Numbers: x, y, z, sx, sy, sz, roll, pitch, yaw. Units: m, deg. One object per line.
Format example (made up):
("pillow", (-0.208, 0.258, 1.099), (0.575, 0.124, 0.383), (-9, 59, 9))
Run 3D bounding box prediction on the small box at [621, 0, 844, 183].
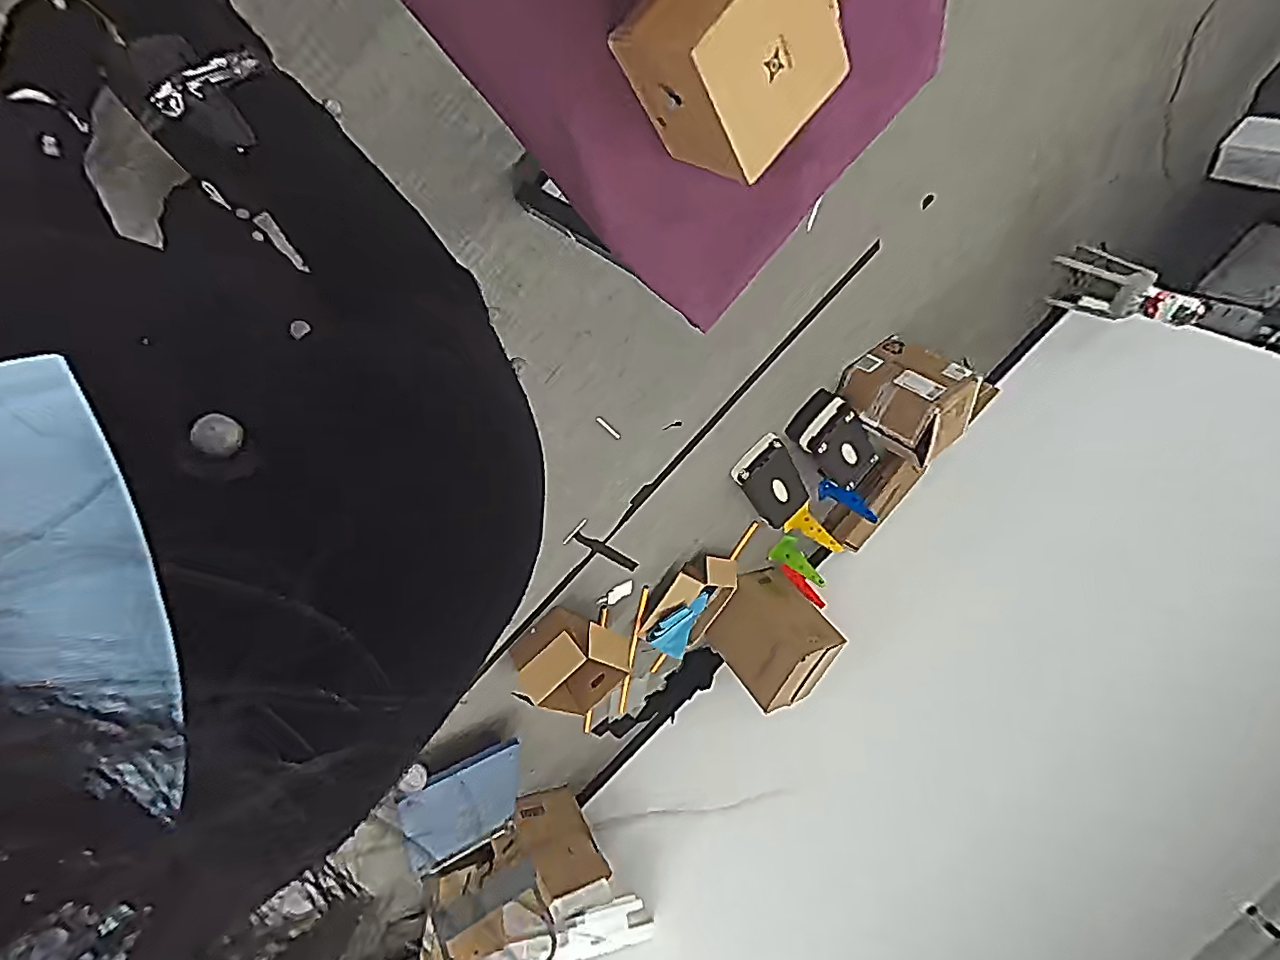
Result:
("small box", (0.100, -0.494, 0.634), (0.179, 0.176, 0.168), (-48, 142, 5))
